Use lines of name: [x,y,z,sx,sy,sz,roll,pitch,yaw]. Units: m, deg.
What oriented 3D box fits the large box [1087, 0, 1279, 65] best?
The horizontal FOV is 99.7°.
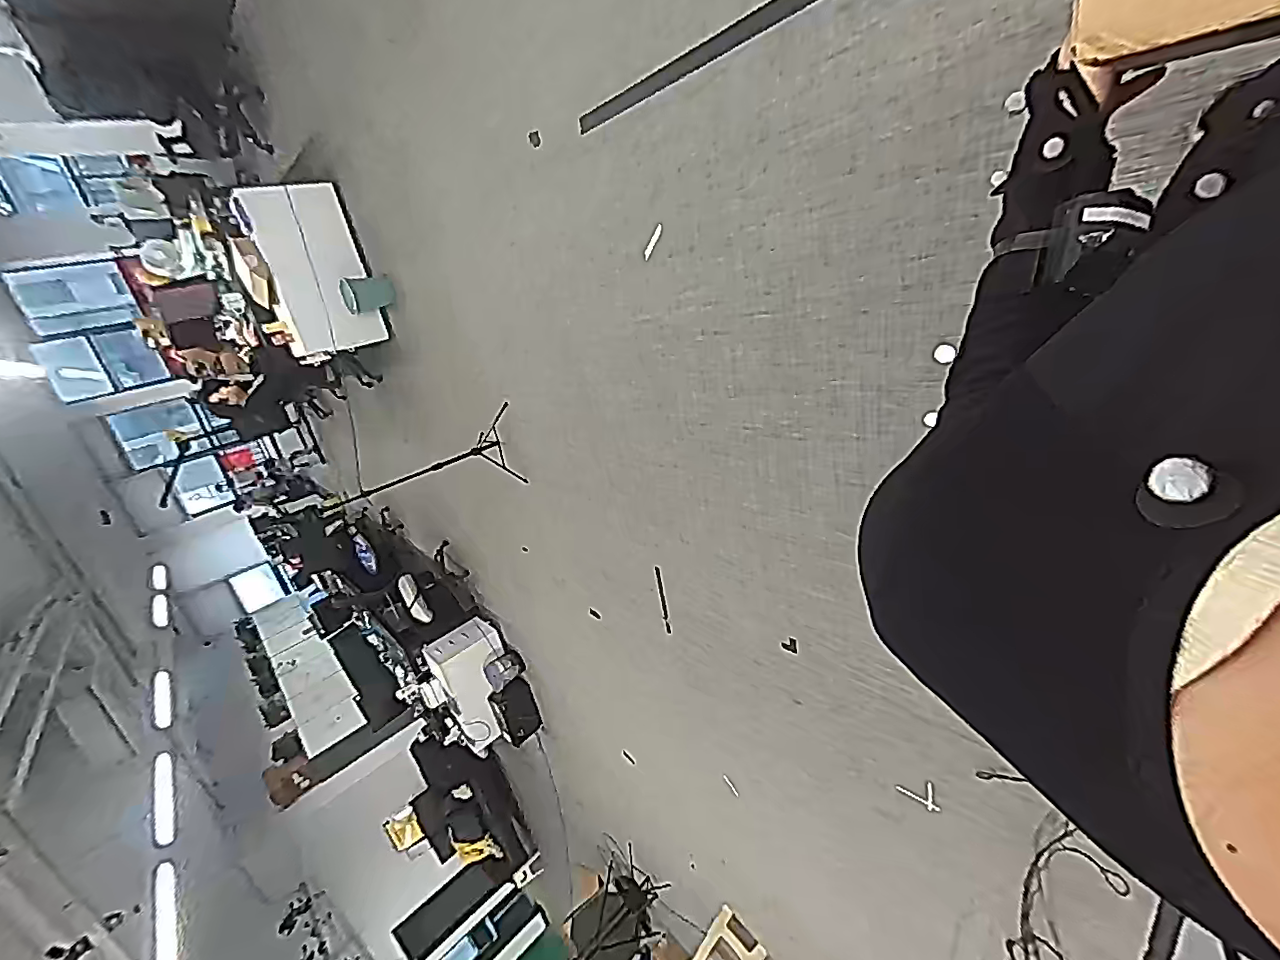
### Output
large box: [0.390,-0.354,0.126,0.408,0.320,0.320,11,125,40]
